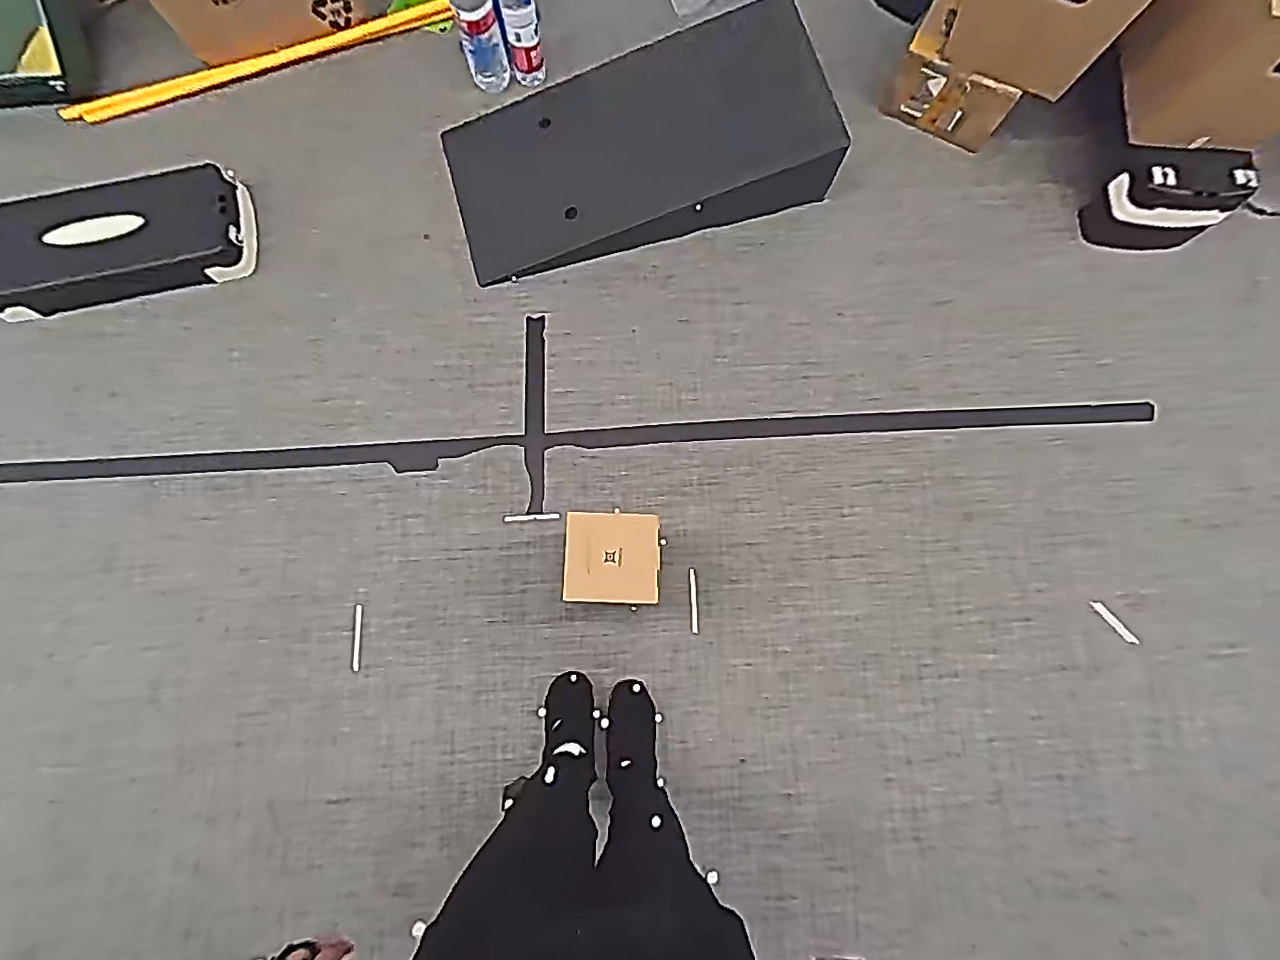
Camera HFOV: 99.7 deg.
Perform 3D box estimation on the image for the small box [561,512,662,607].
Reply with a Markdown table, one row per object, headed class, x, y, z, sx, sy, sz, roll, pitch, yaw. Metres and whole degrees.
| class | x | y | z | sx | sy | sz | roll | pitch | yaw |
| --- | --- | --- | --- | --- | --- | --- | --- | --- | --- |
| small box | -0.051 | 0.156 | 1.060 | 0.179 | 0.176 | 0.168 | 3 | 79 | 0 |
